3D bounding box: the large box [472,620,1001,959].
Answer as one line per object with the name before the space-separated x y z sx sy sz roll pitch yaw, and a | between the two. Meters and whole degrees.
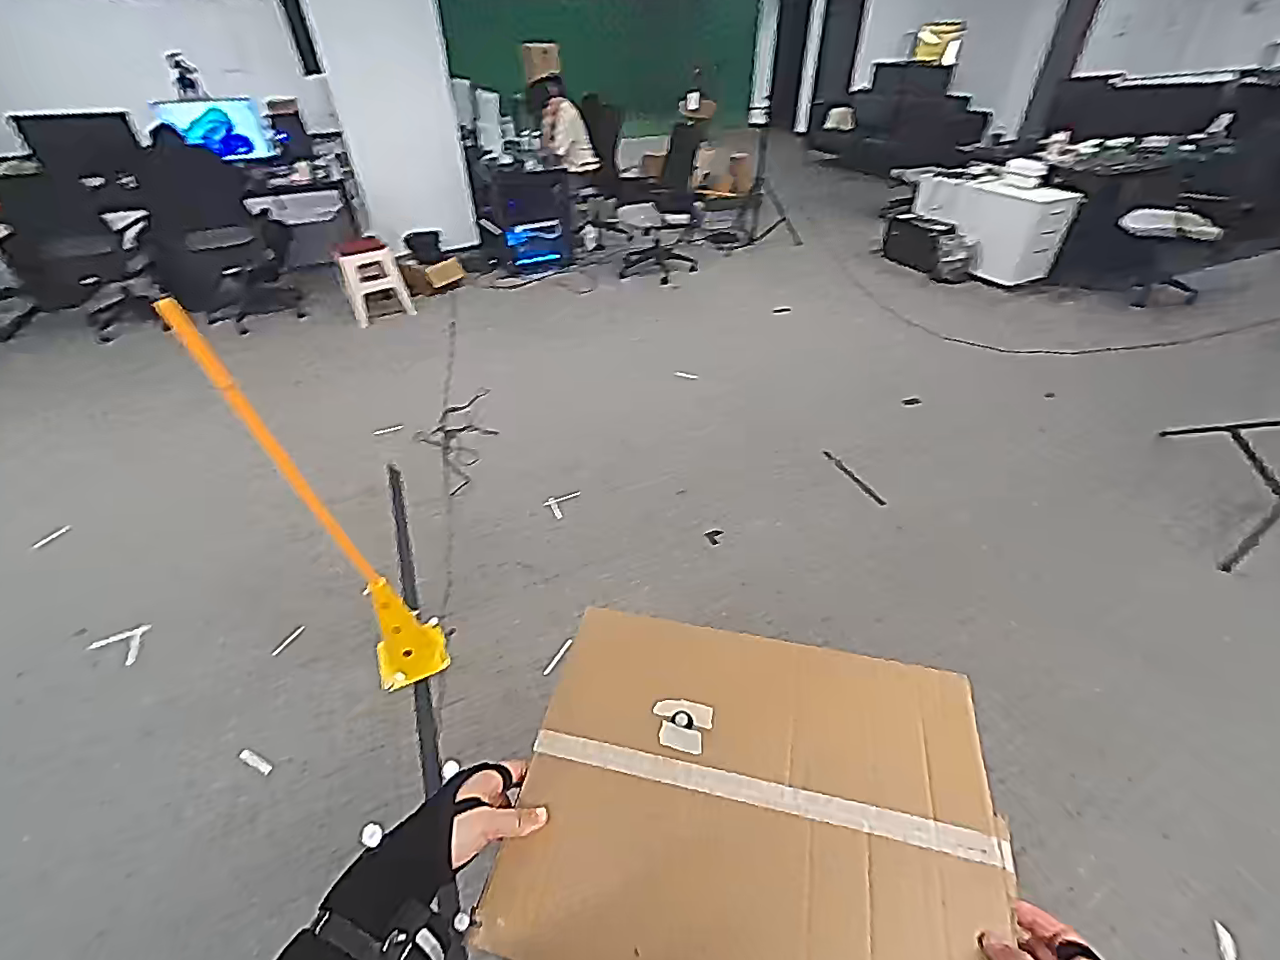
large box | 0.105 0.390 0.593 0.408 0.320 0.320 5 44 14
